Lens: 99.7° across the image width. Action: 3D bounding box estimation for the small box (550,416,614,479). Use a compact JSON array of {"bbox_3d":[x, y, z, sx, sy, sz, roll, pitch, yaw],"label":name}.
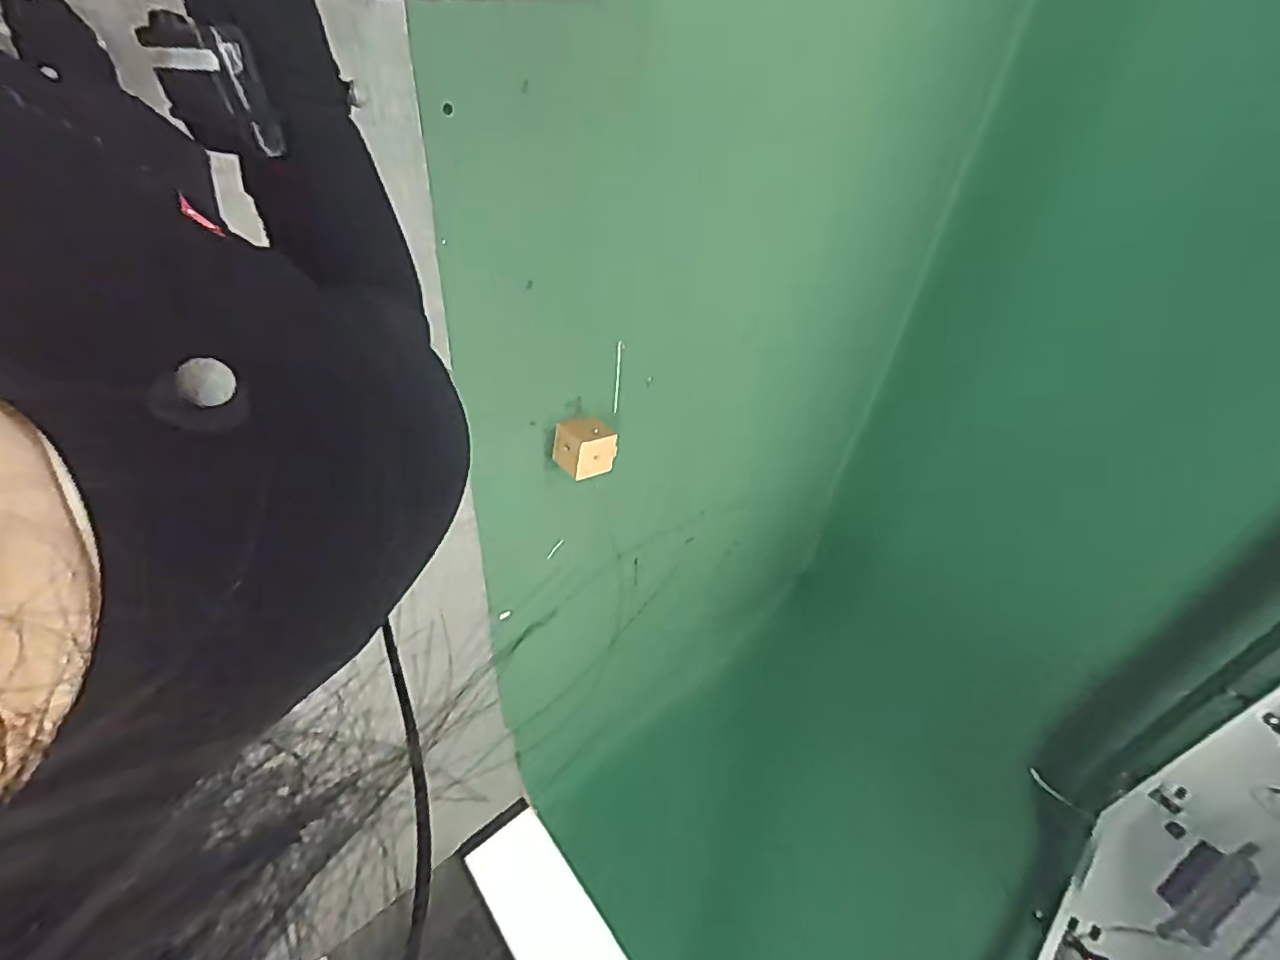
[{"bbox_3d":[-0.228,-0.131,2.089,0.179,0.176,0.168,-19,133,-39],"label":"small box"}]
